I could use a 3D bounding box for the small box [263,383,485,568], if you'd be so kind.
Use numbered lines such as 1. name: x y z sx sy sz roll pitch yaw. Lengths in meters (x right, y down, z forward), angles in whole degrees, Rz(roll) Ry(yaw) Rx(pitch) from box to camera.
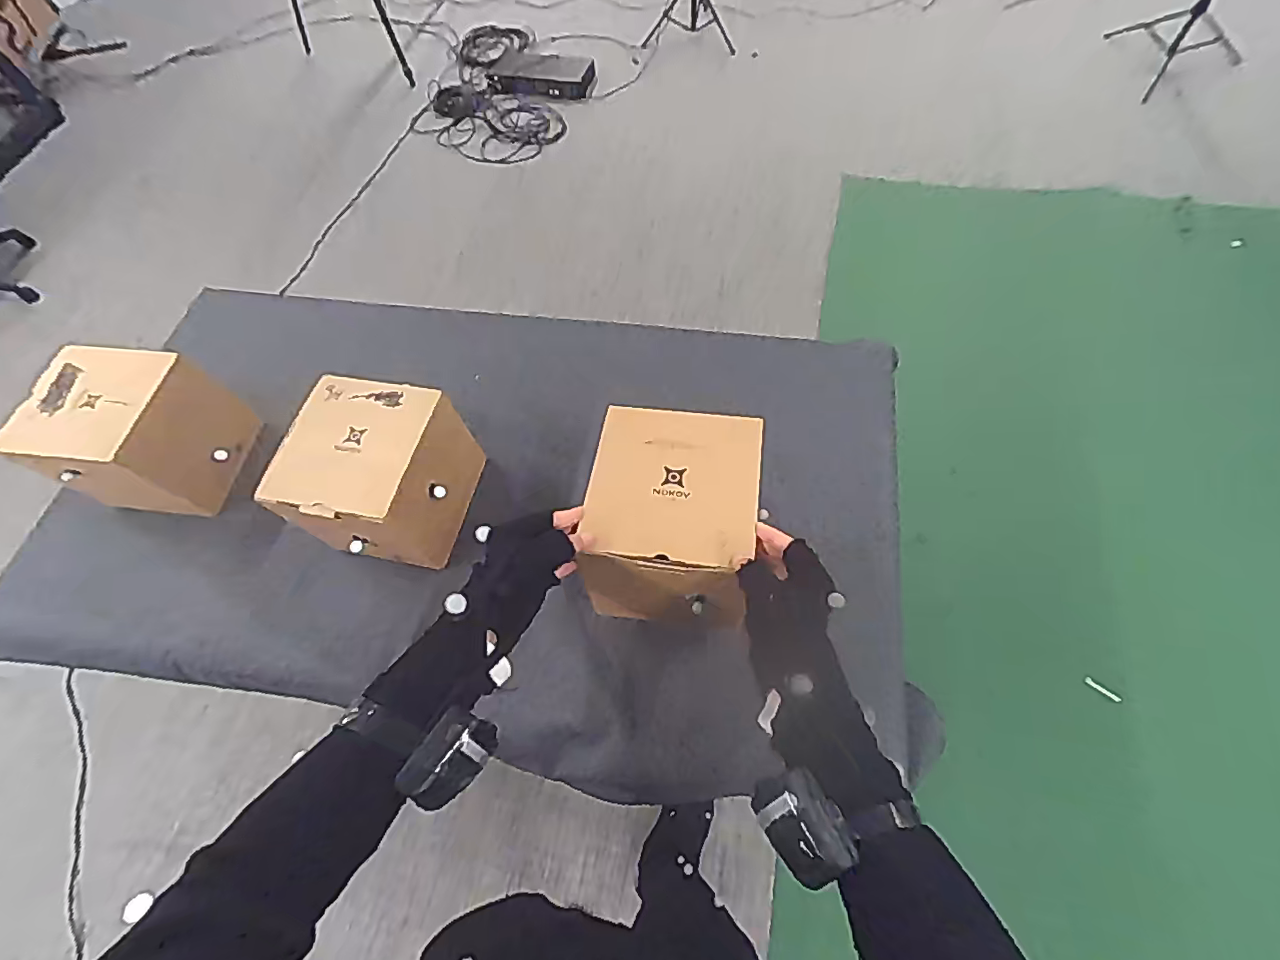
1. small box: -0.323 0.001 0.700 0.168 0.176 0.179 9 64 9

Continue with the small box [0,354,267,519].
1. small box: -0.684 -0.055 0.758 0.179 0.176 0.168 5 64 6

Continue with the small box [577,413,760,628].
1. small box: 0.039 0.050 0.600 0.168 0.176 0.179 5 56 7
